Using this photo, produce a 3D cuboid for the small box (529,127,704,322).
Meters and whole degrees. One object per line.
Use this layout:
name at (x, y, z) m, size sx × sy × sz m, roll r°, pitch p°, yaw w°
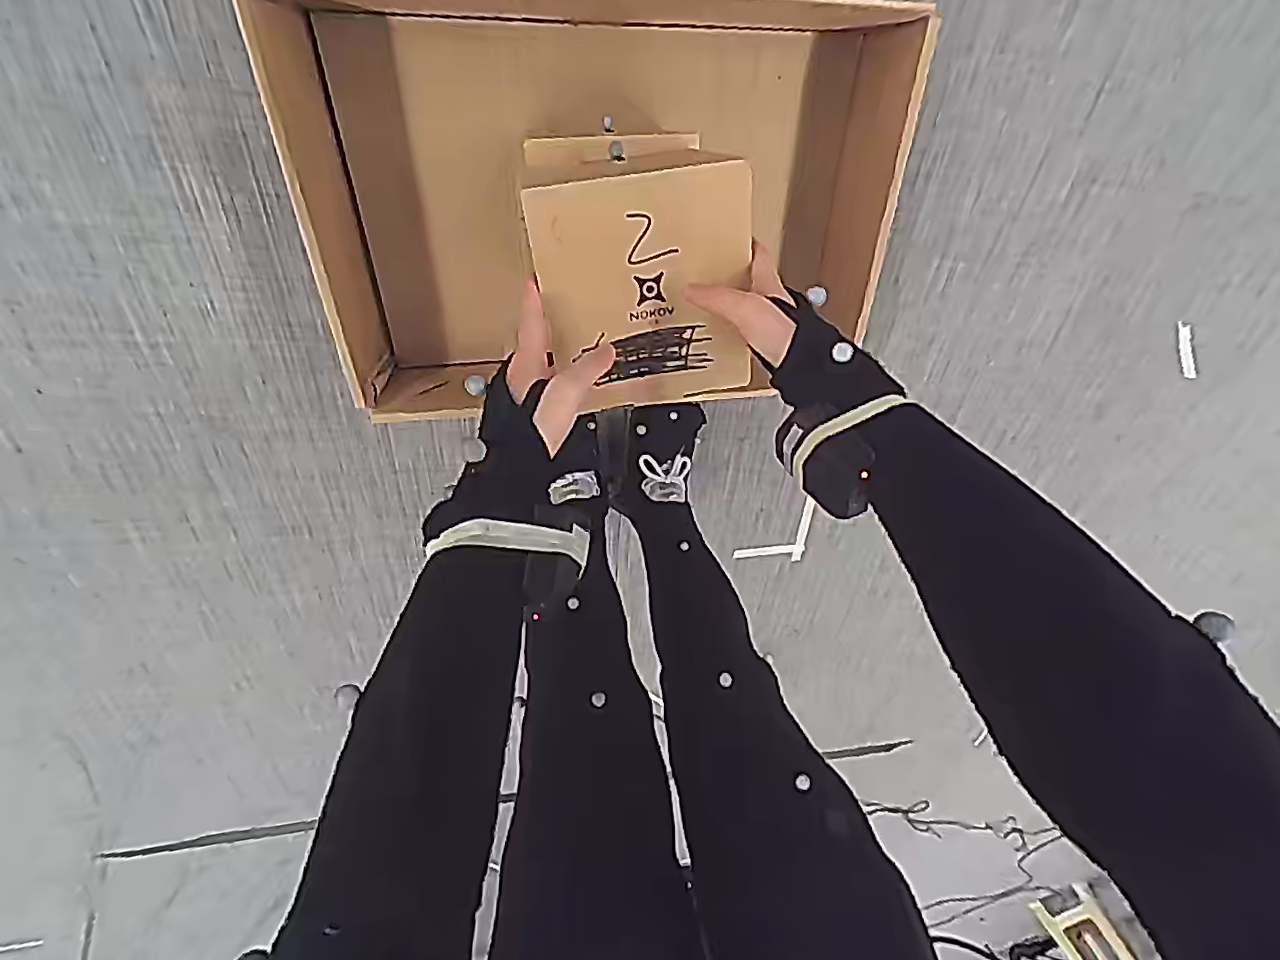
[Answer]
small box at (-0.033, -0.292, 0.609) m, size 0.168 × 0.176 × 0.179 m, roll -6°, pitch 125°, yaw -8°
